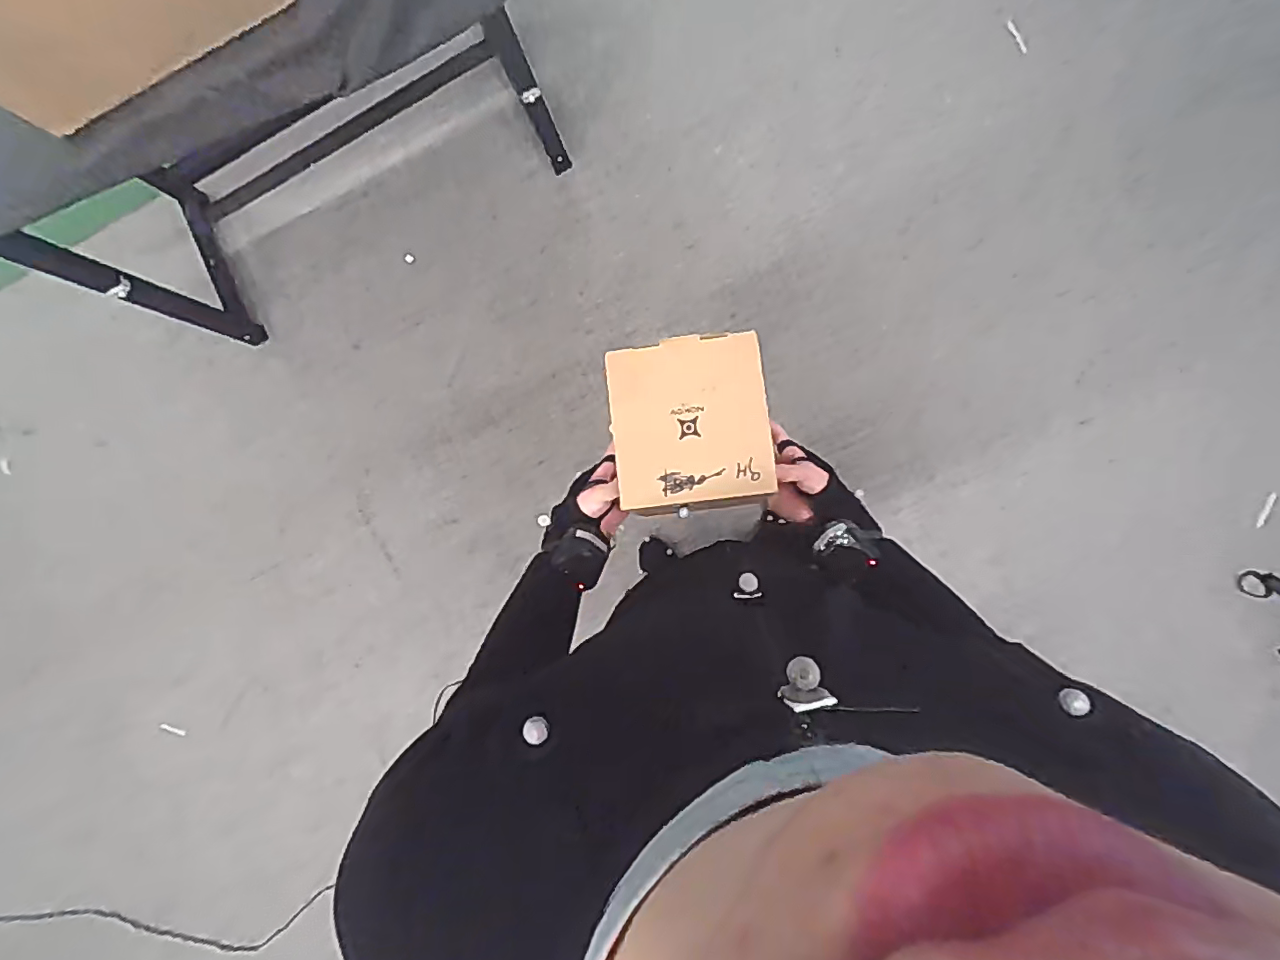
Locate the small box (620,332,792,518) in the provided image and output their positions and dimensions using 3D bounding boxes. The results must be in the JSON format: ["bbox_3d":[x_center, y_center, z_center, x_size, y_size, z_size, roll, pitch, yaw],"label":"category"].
[{"bbox_3d":[0.075,-0.053,0.646,0.168,0.176,0.179,-8,83,6],"label":"small box"}]
